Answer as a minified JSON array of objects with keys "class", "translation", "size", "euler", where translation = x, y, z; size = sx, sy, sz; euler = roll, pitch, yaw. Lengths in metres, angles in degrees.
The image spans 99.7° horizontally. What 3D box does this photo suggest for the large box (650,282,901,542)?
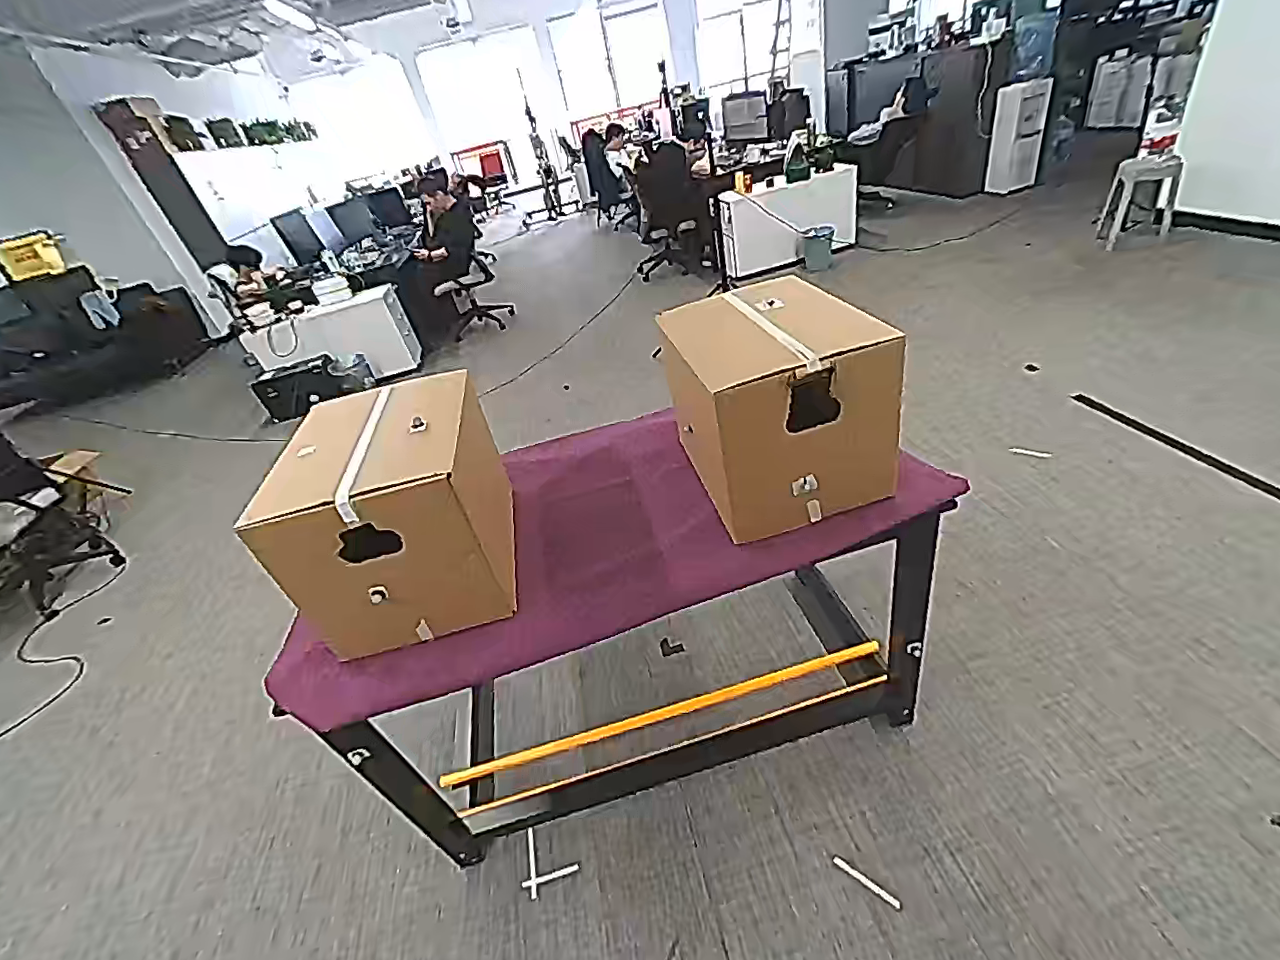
[{"class":"large box","translation":[0.242,-0.148,1.045],"size":[0.320,0.320,0.408],"euler":[-16,34,-4]}]
